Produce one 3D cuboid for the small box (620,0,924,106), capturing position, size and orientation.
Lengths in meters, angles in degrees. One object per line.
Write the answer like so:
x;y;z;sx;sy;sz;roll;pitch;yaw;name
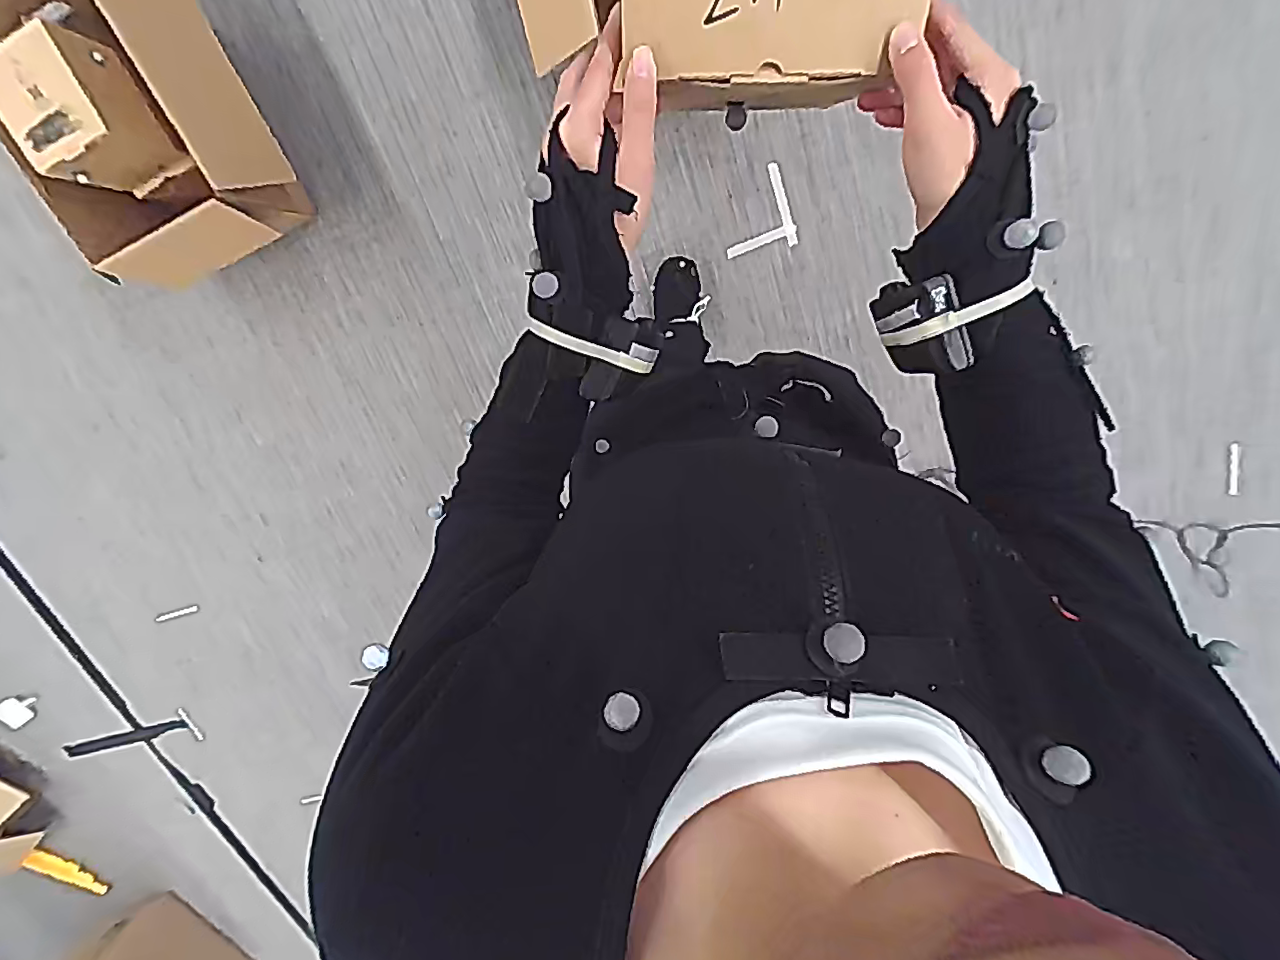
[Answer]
0.070;-0.347;0.332;0.168;0.176;0.179;-1;119;0;small box
